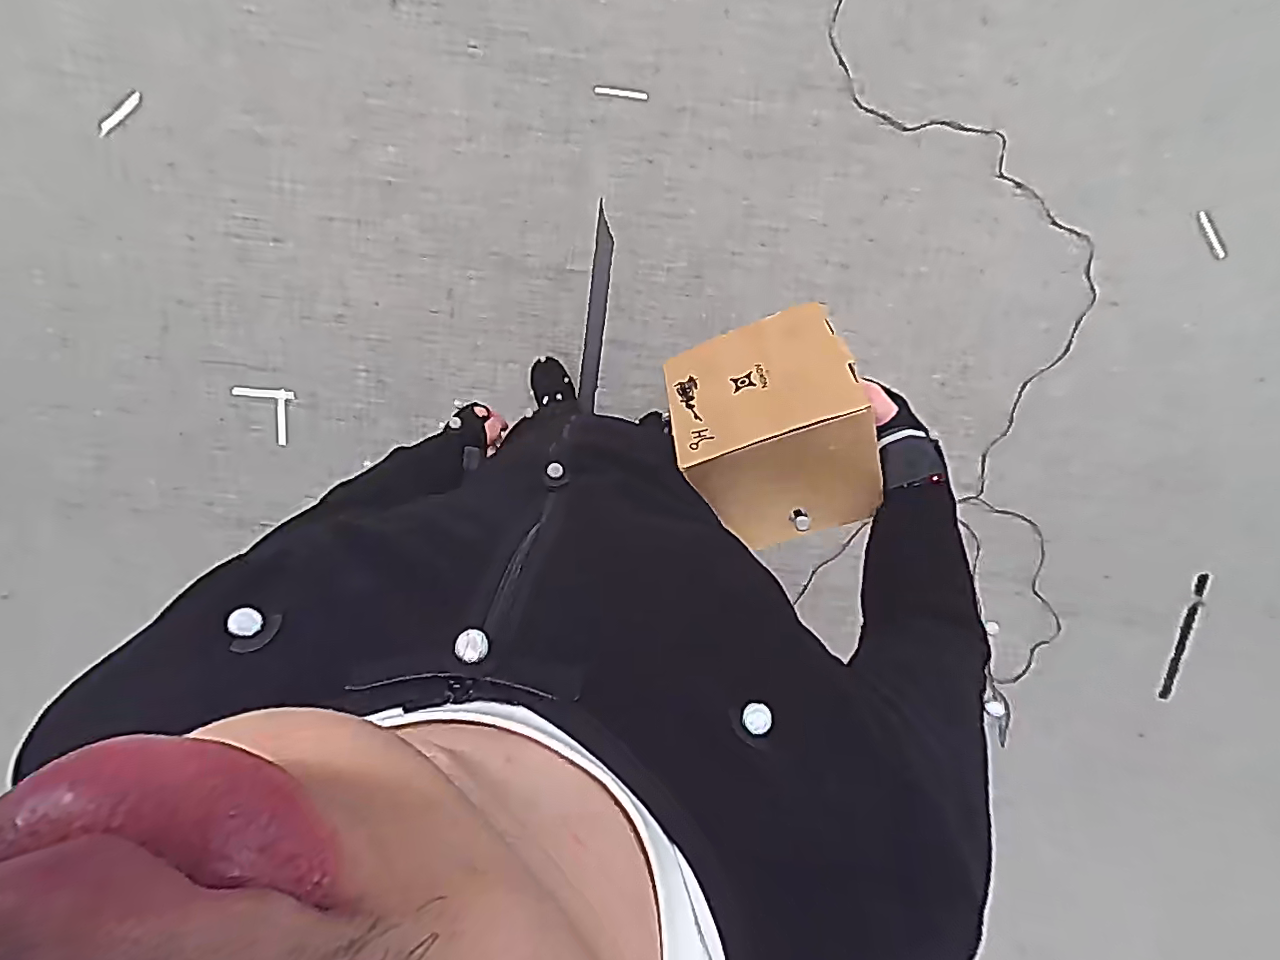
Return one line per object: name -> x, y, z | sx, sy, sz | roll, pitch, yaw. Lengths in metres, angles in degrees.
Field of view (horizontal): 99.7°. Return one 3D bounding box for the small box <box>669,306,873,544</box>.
small box -> 0.147, -0.053, 0.604 | 0.179, 0.168, 0.176 | -18, 136, 14
